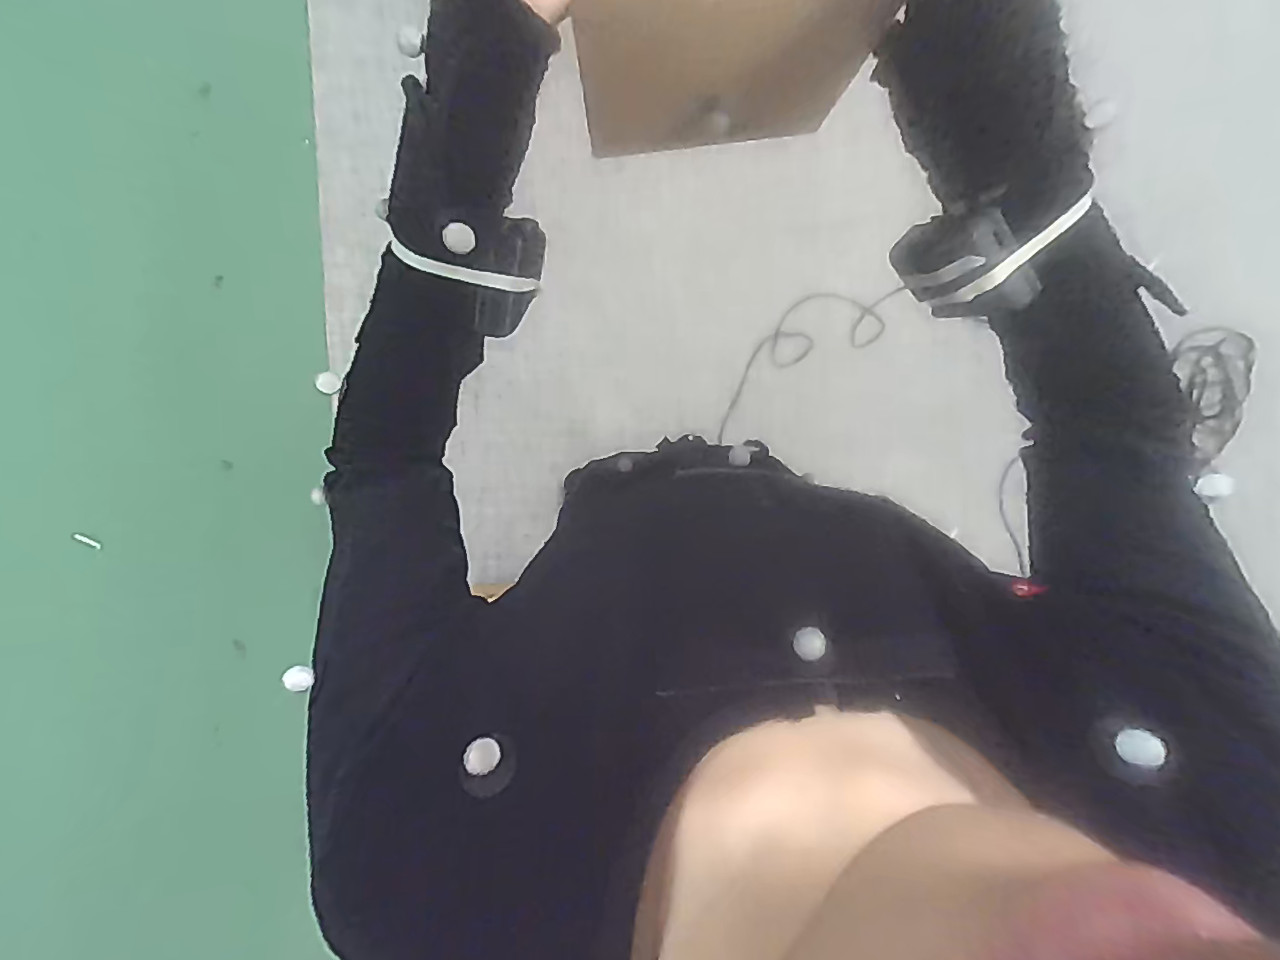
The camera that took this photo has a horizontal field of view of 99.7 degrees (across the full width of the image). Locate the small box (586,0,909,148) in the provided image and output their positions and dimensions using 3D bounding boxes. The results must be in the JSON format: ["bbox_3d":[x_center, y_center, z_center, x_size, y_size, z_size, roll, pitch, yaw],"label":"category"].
[{"bbox_3d":[0.048,-0.324,0.302,0.168,0.176,0.179,-7,96,0],"label":"small box"}]
